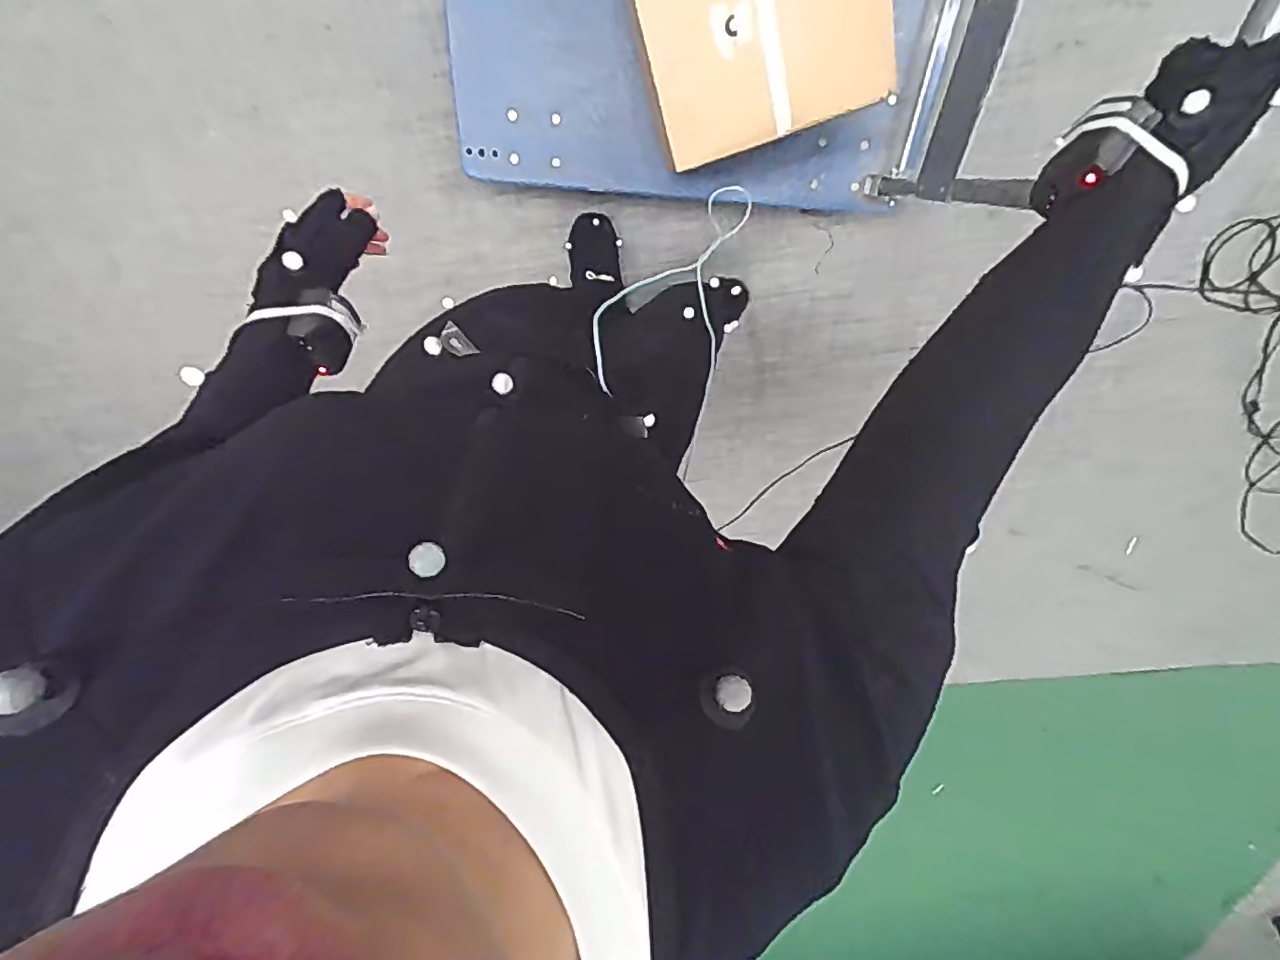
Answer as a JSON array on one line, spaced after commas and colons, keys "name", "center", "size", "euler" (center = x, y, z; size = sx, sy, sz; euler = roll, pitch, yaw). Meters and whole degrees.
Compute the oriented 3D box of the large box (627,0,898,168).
[{"name": "large box", "center": [0.143, -0.731, 0.793], "size": [0.320, 0.320, 0.408], "euler": [-15, 120, 10]}]
